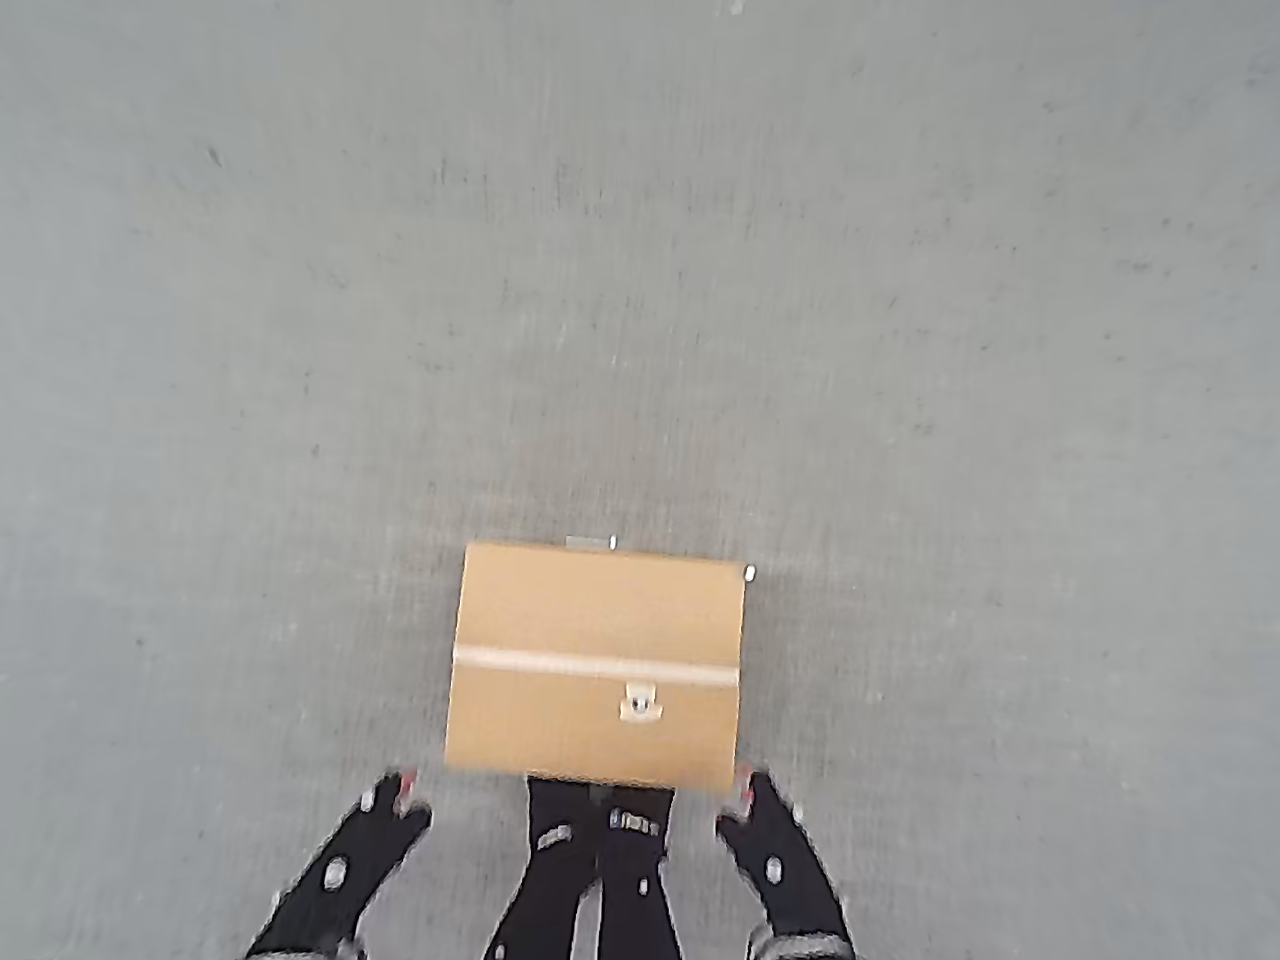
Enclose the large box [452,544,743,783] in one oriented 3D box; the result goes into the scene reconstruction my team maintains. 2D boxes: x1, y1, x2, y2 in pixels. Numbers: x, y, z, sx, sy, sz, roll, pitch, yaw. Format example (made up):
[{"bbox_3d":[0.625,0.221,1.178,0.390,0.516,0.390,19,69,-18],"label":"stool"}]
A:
[{"bbox_3d":[-0.060,0.278,0.920,0.408,0.320,0.320,5,84,0],"label":"large box"}]
